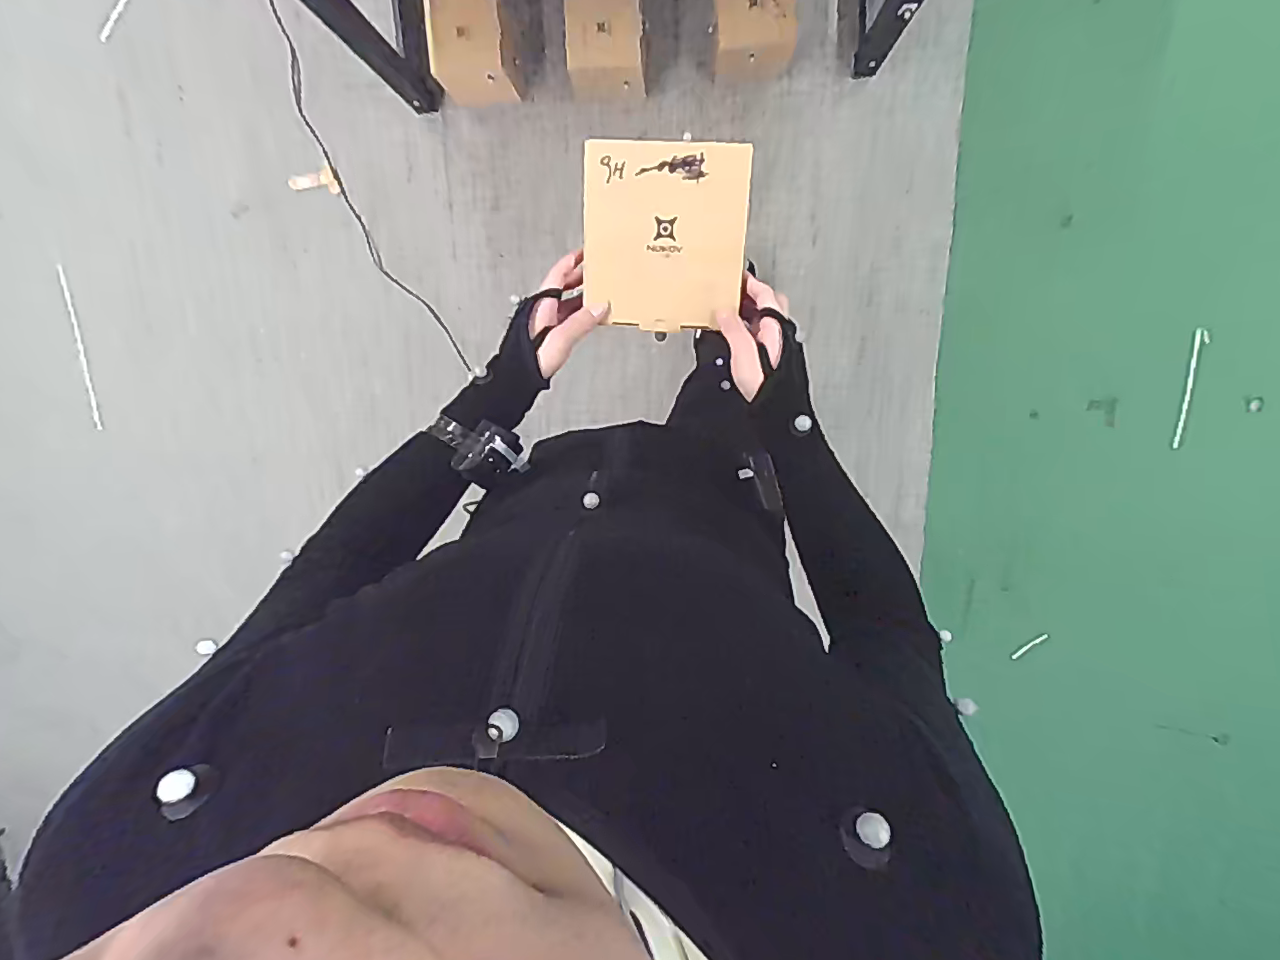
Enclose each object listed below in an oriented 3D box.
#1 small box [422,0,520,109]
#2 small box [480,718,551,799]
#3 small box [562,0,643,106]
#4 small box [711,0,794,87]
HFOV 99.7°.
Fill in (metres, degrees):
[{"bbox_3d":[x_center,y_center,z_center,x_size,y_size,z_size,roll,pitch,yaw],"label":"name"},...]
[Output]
[{"bbox_3d":[-0.407,-1.040,1.325,0.179,0.176,0.168,-1,101,4],"label":"small box"},{"bbox_3d":[-0.392,0.878,1.718,0.179,0.176,0.168,-1,102,4],"label":"small box"},{"bbox_3d":[-0.082,-1.032,1.301,0.179,0.176,0.168,0,101,5],"label":"small box"},{"bbox_3d":[0.257,-1.058,1.267,0.179,0.176,0.168,-4,102,5],"label":"small box"}]
